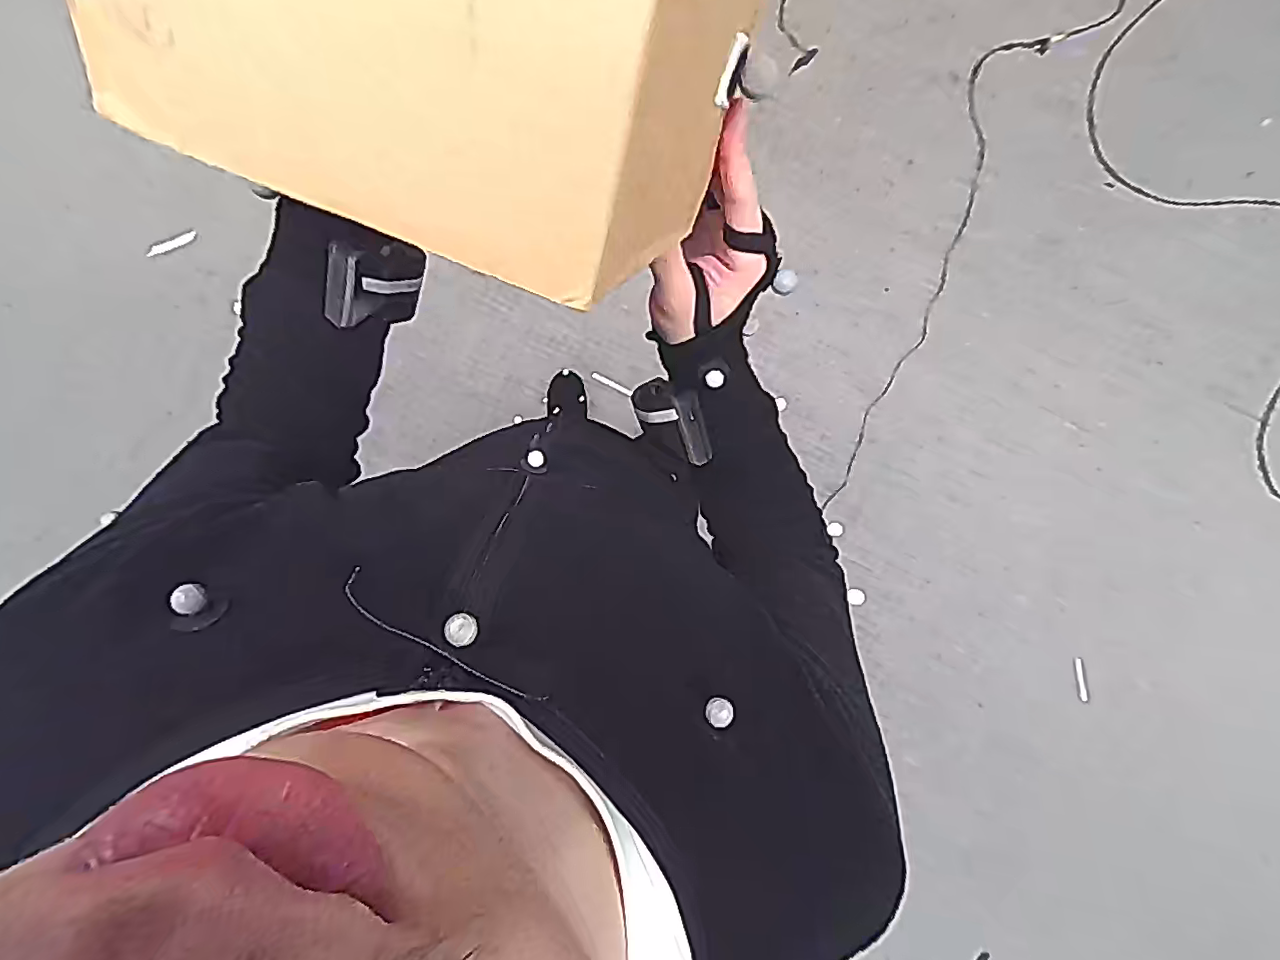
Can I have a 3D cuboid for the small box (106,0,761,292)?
[{"bbox_3d":[-0.053,-0.195,0.199,0.179,0.176,0.168,21,127,5],"label":"small box"}]
